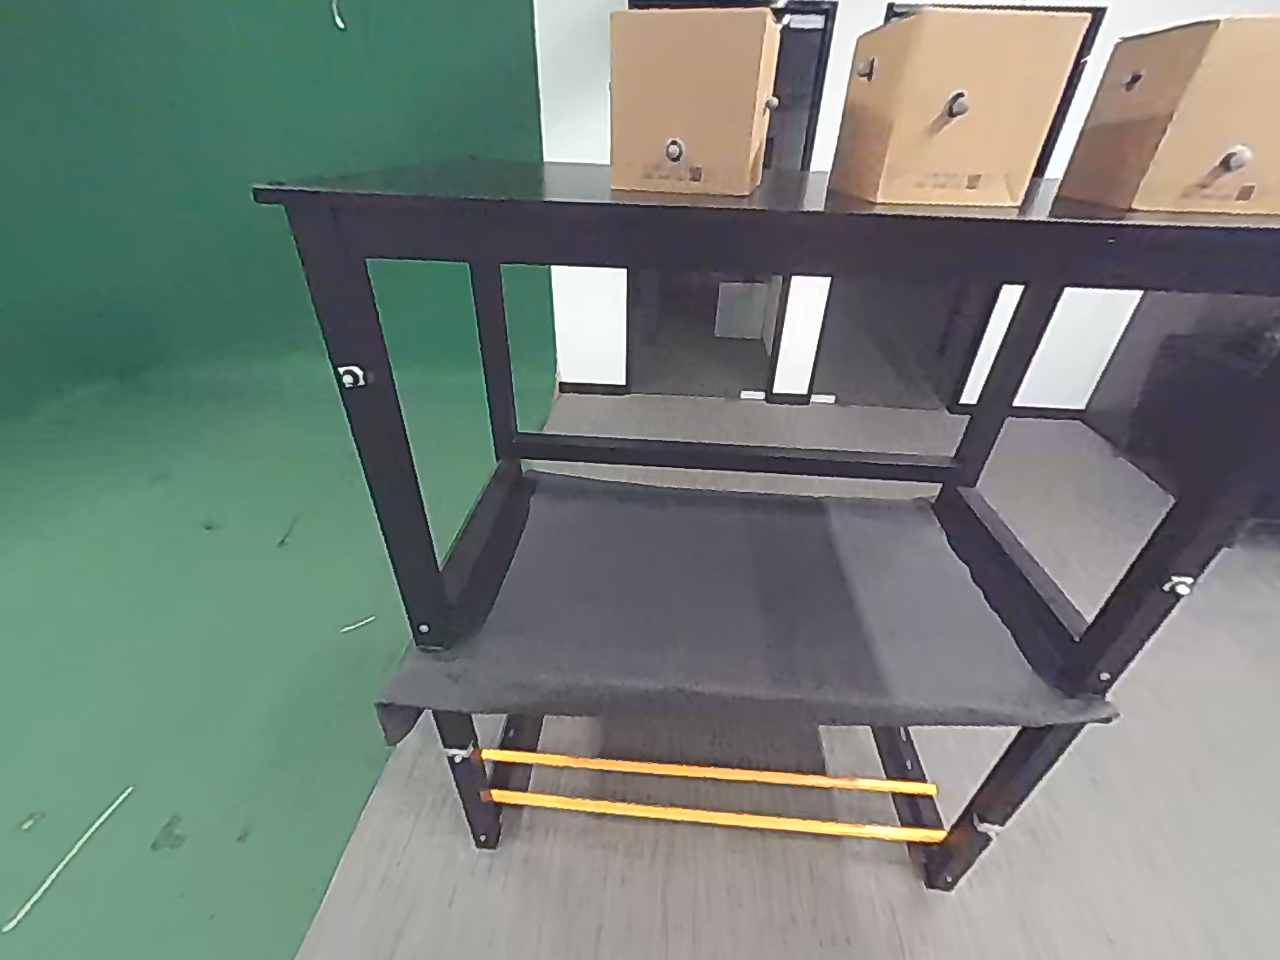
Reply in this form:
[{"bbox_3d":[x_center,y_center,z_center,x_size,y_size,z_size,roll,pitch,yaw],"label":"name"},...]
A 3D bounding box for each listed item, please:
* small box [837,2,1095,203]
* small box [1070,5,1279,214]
[{"bbox_3d":[0.345,-0.418,0.617,0.168,0.176,0.179,1,33,-1],"label":"small box"},{"bbox_3d":[0.638,-0.406,0.606,0.168,0.176,0.179,6,34,8],"label":"small box"}]
